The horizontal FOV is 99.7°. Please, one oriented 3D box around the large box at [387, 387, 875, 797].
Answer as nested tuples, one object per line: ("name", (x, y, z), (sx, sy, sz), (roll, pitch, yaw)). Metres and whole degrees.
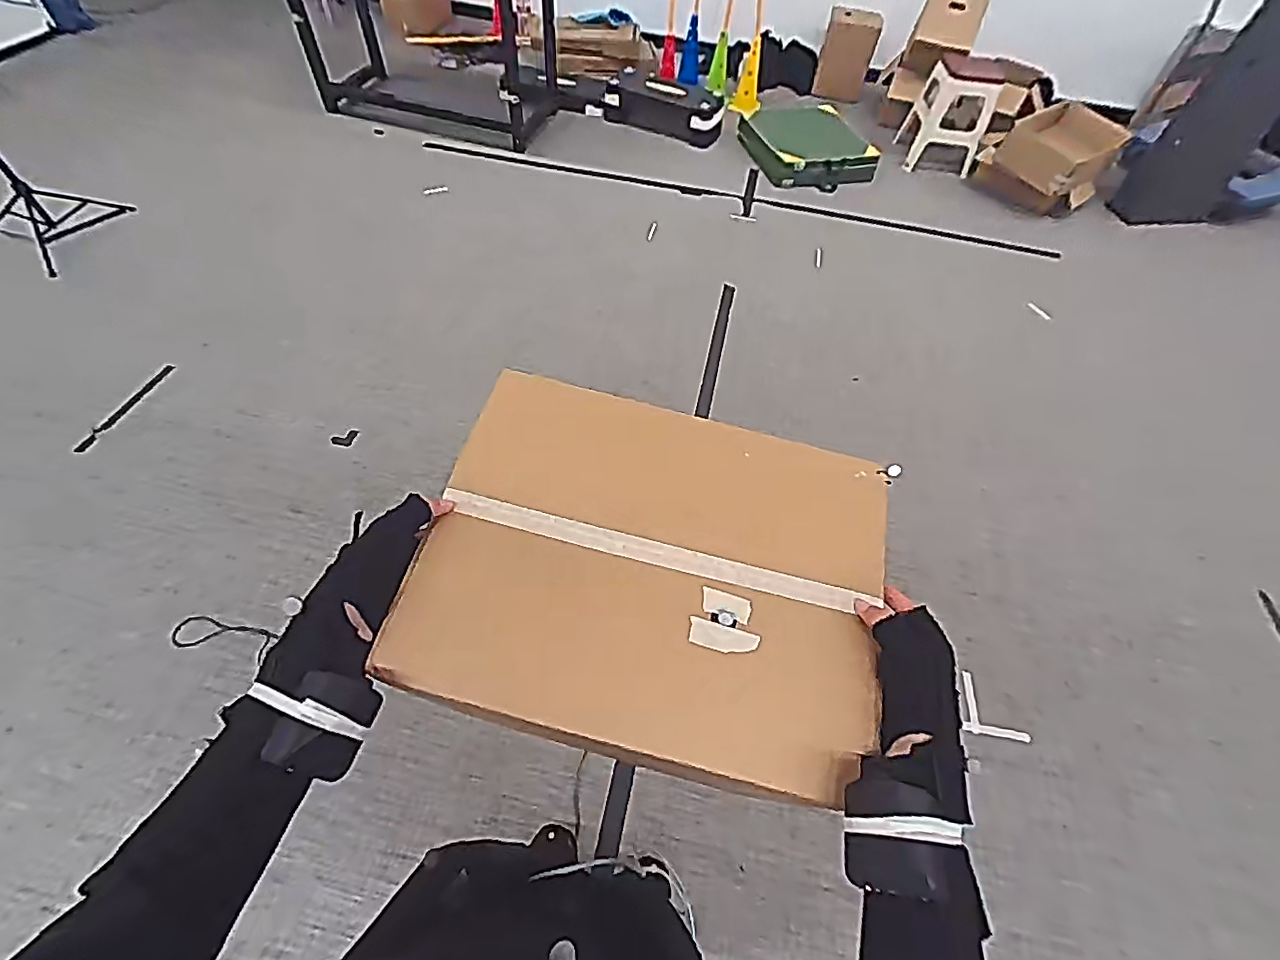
("large box", (0.004, 0.143, 0.628), (0.408, 0.320, 0.320), (14, 62, 1))
